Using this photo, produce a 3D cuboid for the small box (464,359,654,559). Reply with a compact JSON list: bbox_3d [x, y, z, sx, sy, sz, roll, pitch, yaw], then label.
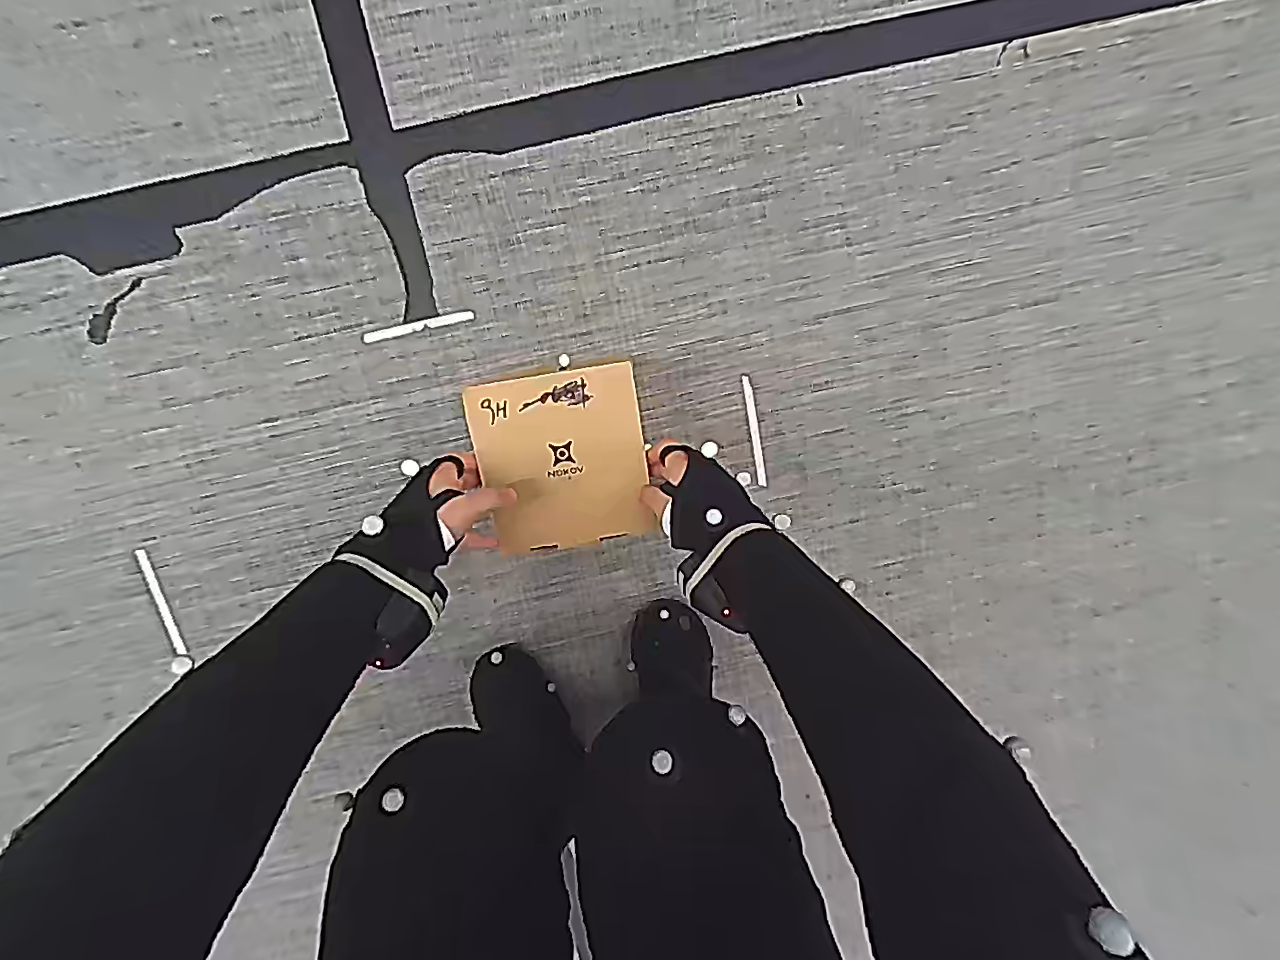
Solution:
[{"bbox_3d":[-0.078,-0.033,0.611,0.168,0.176,0.179,-9,106,-1],"label":"small box"}]
